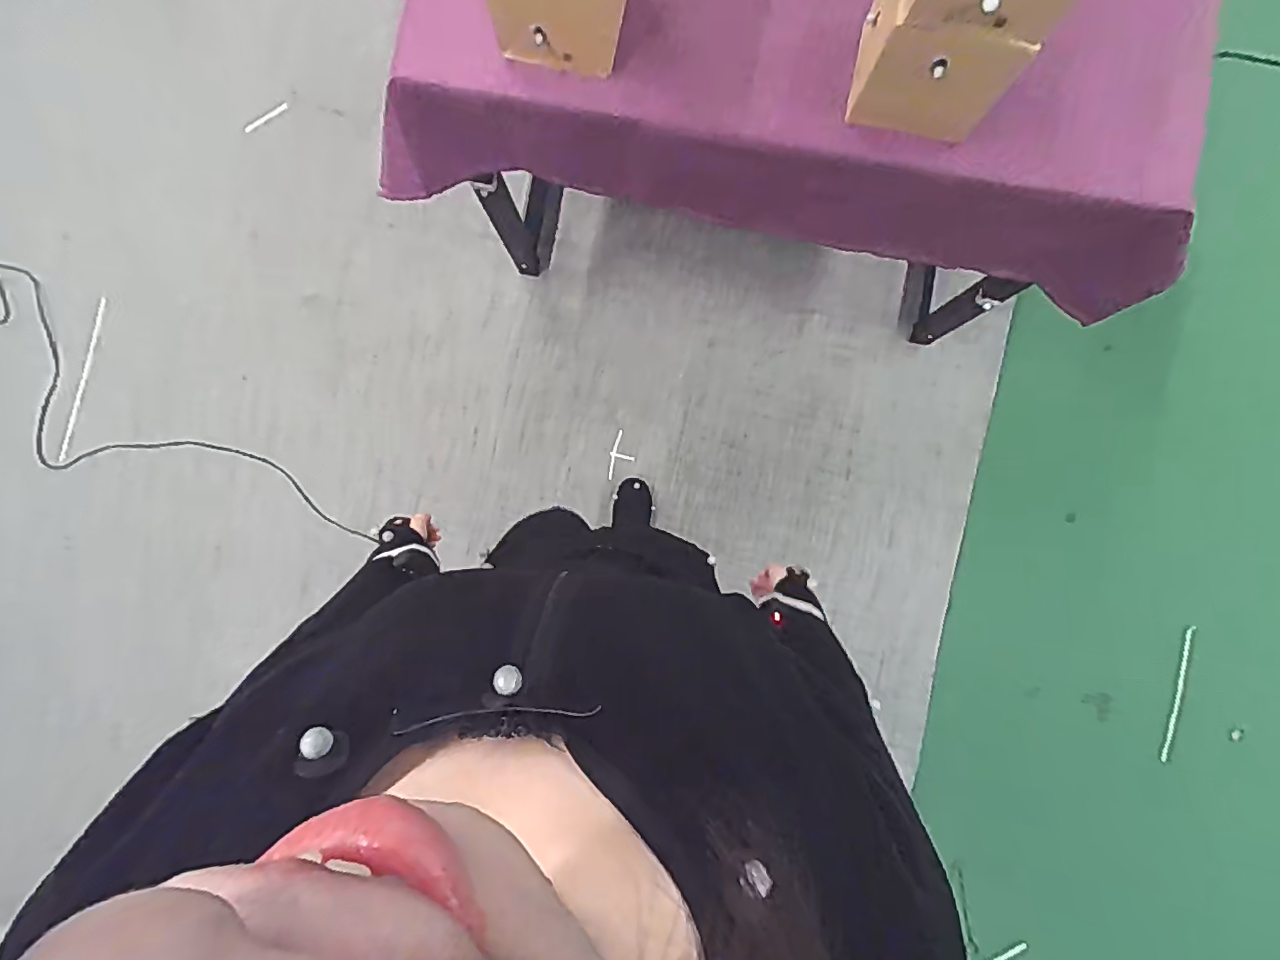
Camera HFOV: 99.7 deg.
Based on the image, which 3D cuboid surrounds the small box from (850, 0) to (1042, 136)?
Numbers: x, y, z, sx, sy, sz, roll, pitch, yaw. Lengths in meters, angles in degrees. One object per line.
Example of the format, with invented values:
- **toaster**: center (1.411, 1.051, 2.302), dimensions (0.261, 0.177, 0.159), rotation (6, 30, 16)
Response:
- **small box**: center (0.403, -0.598, 0.719), dimensions (0.179, 0.176, 0.168), rotation (13, 88, 1)

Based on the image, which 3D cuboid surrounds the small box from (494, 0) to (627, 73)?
- **small box**: center (-0.107, -0.711, 0.732), dimensions (0.168, 0.176, 0.179), rotation (12, 88, 1)

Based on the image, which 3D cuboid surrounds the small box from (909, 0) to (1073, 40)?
- **small box**: center (0.402, -0.613, 0.555), dimensions (0.168, 0.176, 0.179), rotation (10, 88, 2)
